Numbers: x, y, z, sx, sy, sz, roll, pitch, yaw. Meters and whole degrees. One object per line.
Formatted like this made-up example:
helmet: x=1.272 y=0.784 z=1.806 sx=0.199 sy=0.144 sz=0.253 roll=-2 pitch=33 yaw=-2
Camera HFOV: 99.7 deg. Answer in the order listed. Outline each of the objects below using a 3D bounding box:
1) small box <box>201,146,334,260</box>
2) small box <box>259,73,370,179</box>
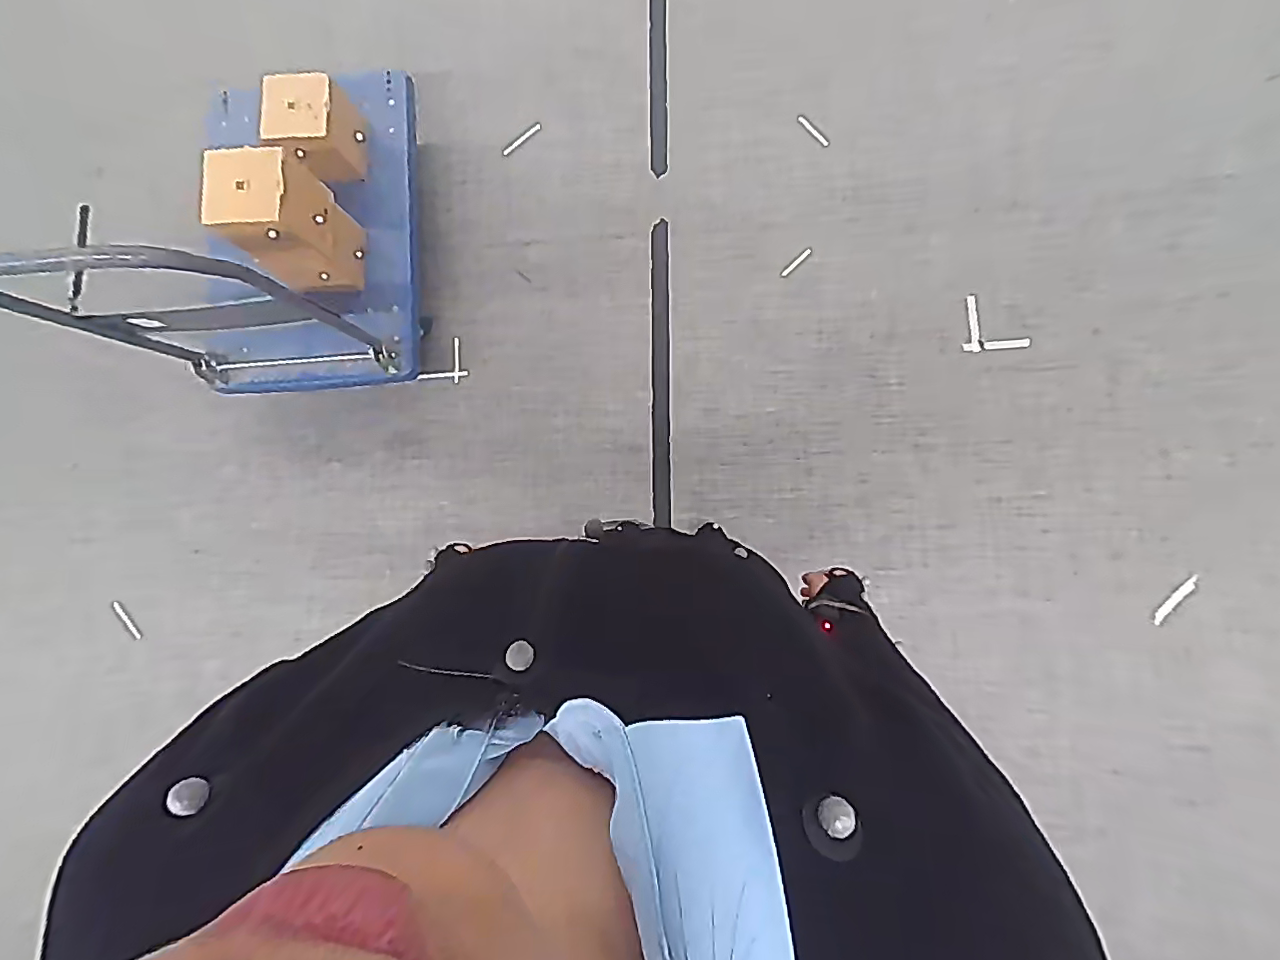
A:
small box: x=-0.815 y=-0.603 z=1.197 sx=0.179 sy=0.176 sz=0.168 roll=-1 pitch=85 yaw=3
small box: x=-0.826 y=-0.897 z=1.384 sx=0.179 sy=0.176 sz=0.168 roll=1 pitch=86 yaw=4
